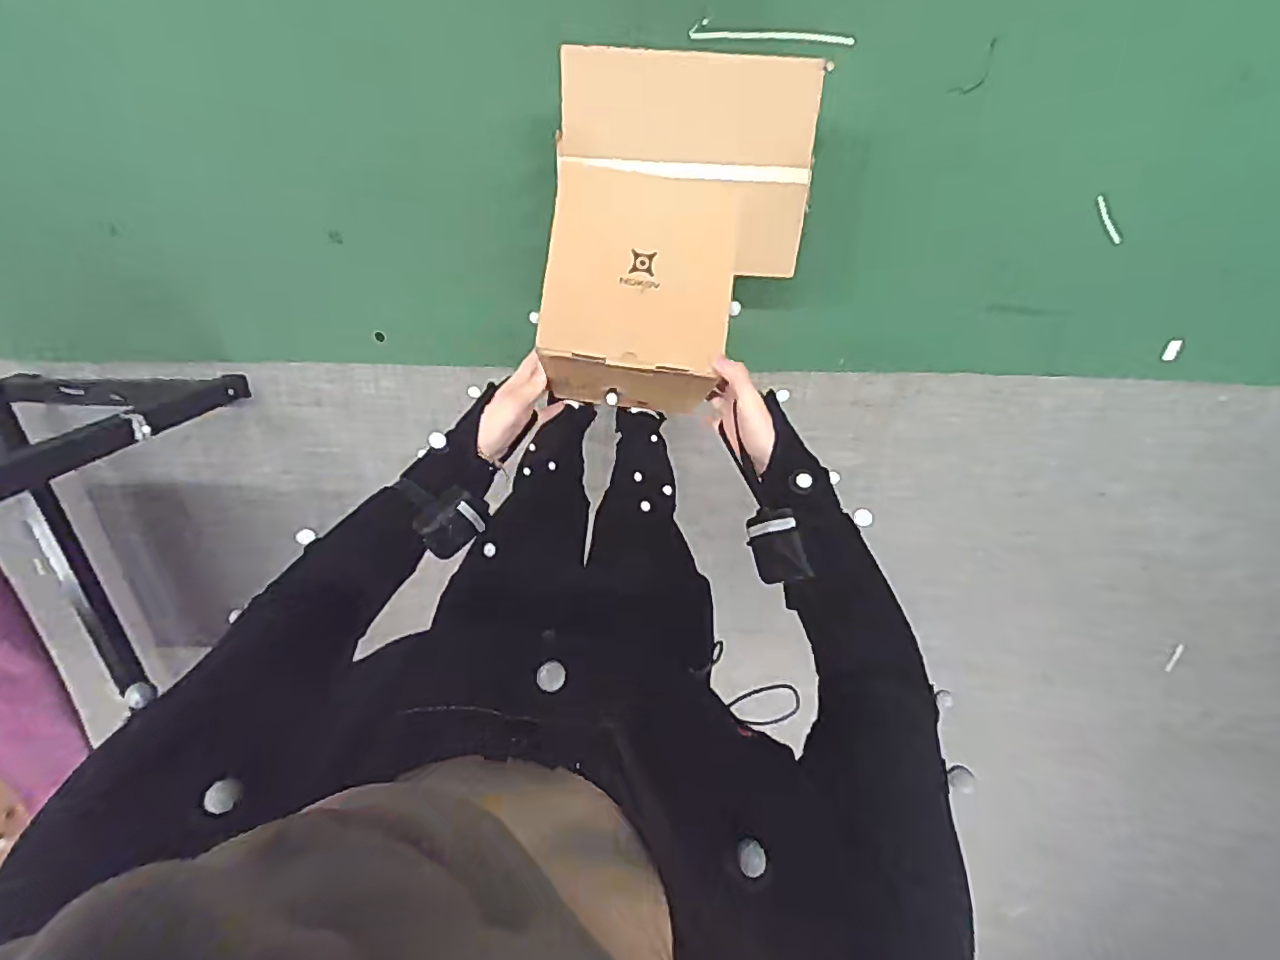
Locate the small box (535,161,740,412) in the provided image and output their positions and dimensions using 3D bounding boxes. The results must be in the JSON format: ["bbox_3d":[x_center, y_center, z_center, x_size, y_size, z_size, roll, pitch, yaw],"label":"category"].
[{"bbox_3d":[-0.005,-0.180,0.552,0.168,0.176,0.179,7,85,-3],"label":"small box"}]

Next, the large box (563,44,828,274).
[{"bbox_3d":[0.077,-0.561,1.000,0.408,0.320,0.320,2,116,-1],"label":"large box"}]

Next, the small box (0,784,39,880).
[{"bbox_3d":[-1.125,0.591,0.835,0.179,0.176,0.168,2,116,0],"label":"small box"}]
